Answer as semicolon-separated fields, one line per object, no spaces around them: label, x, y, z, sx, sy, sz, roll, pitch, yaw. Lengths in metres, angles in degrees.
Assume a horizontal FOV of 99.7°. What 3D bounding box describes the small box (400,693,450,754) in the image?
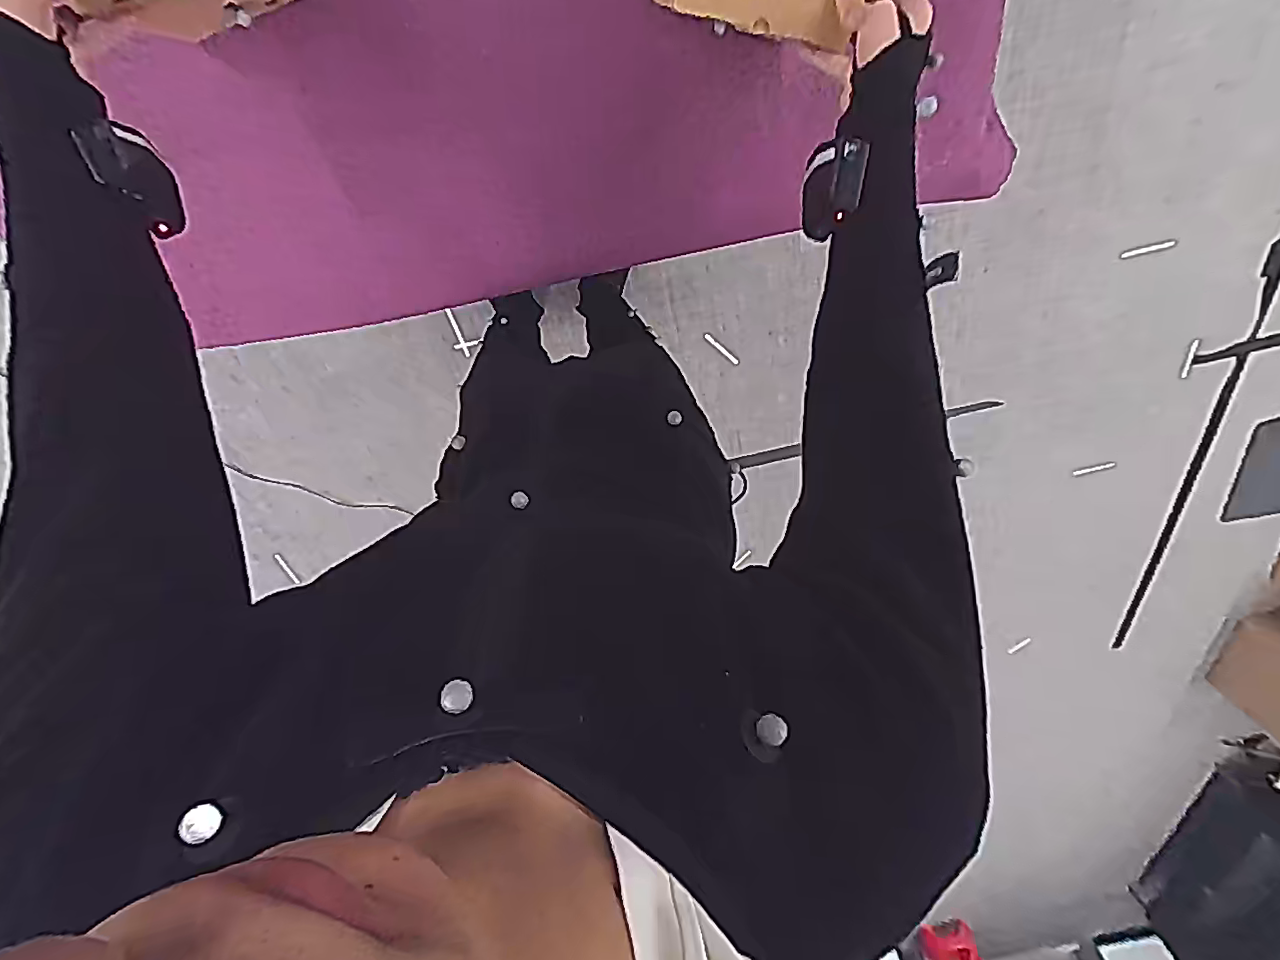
small box;-0.895;1.018;2.261;0.168;0.176;0.179;7;123;-12

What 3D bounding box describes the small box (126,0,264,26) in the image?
small box;-0.412;-0.521;0.447;0.168;0.176;0.179;-18;124;5
